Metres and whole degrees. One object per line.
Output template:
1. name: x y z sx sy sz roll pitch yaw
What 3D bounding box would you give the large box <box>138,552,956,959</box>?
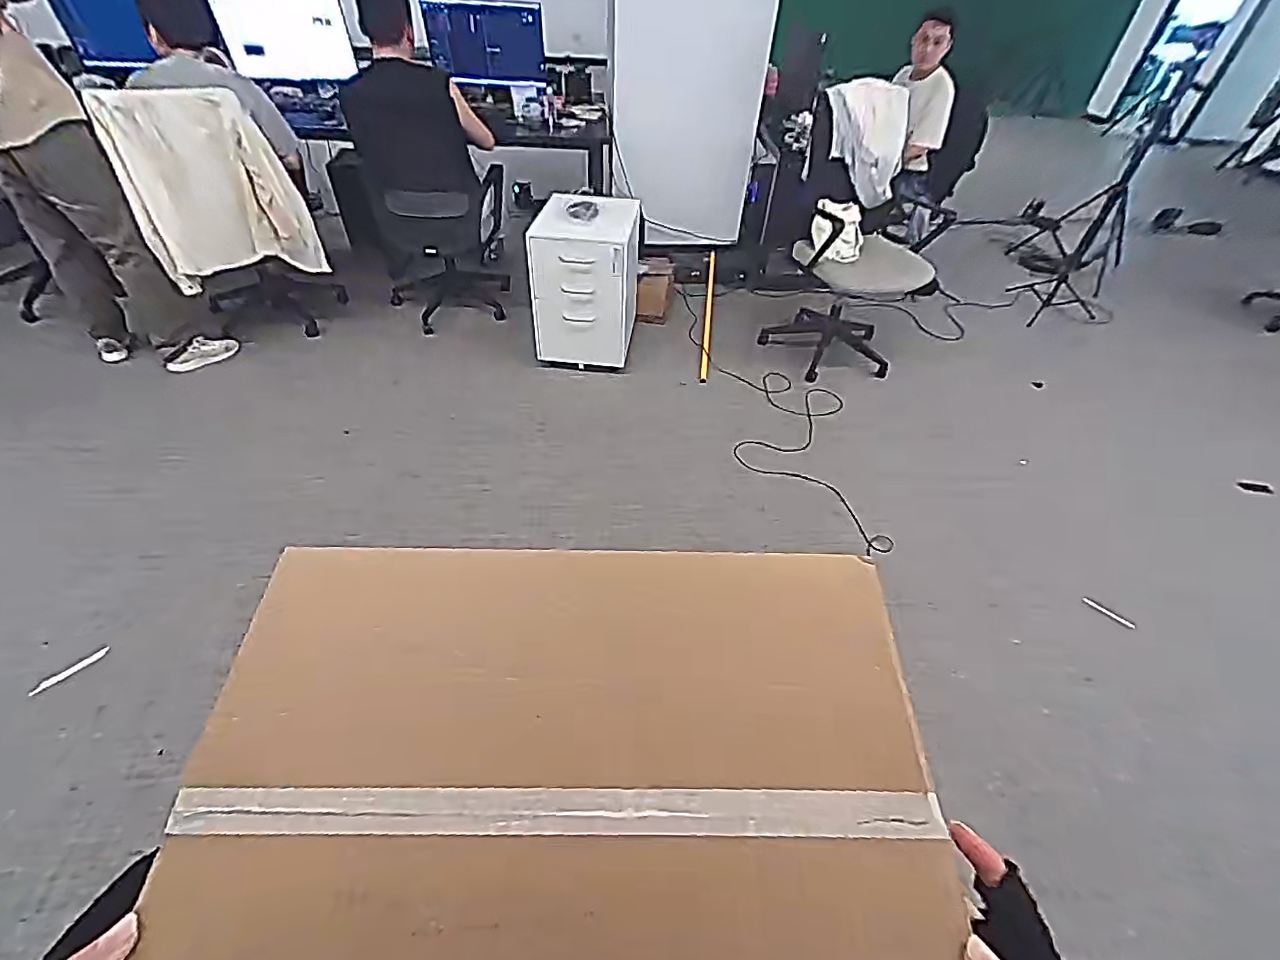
1. large box: -0.046 0.263 0.422 0.408 0.320 0.320 1 56 0
